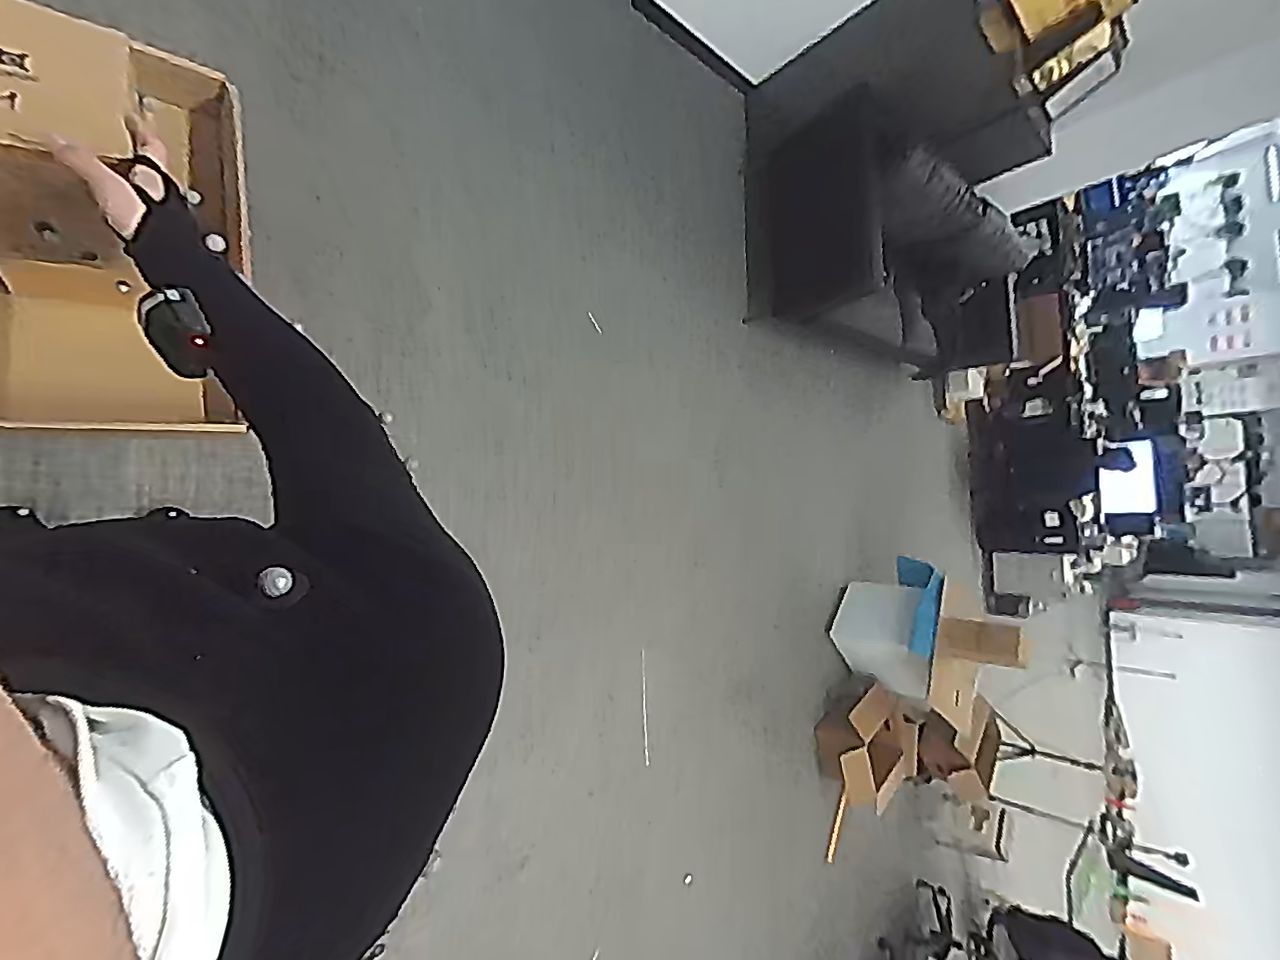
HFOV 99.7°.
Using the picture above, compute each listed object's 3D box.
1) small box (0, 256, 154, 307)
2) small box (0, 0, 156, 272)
[{"bbox_3d":[-0.862,-0.380,0.825,0.179,0.176,0.168,-2,87,-43],"label":"small box"},{"bbox_3d":[-0.616,-0.346,0.549,0.168,0.176,0.179,-7,73,-36],"label":"small box"}]
